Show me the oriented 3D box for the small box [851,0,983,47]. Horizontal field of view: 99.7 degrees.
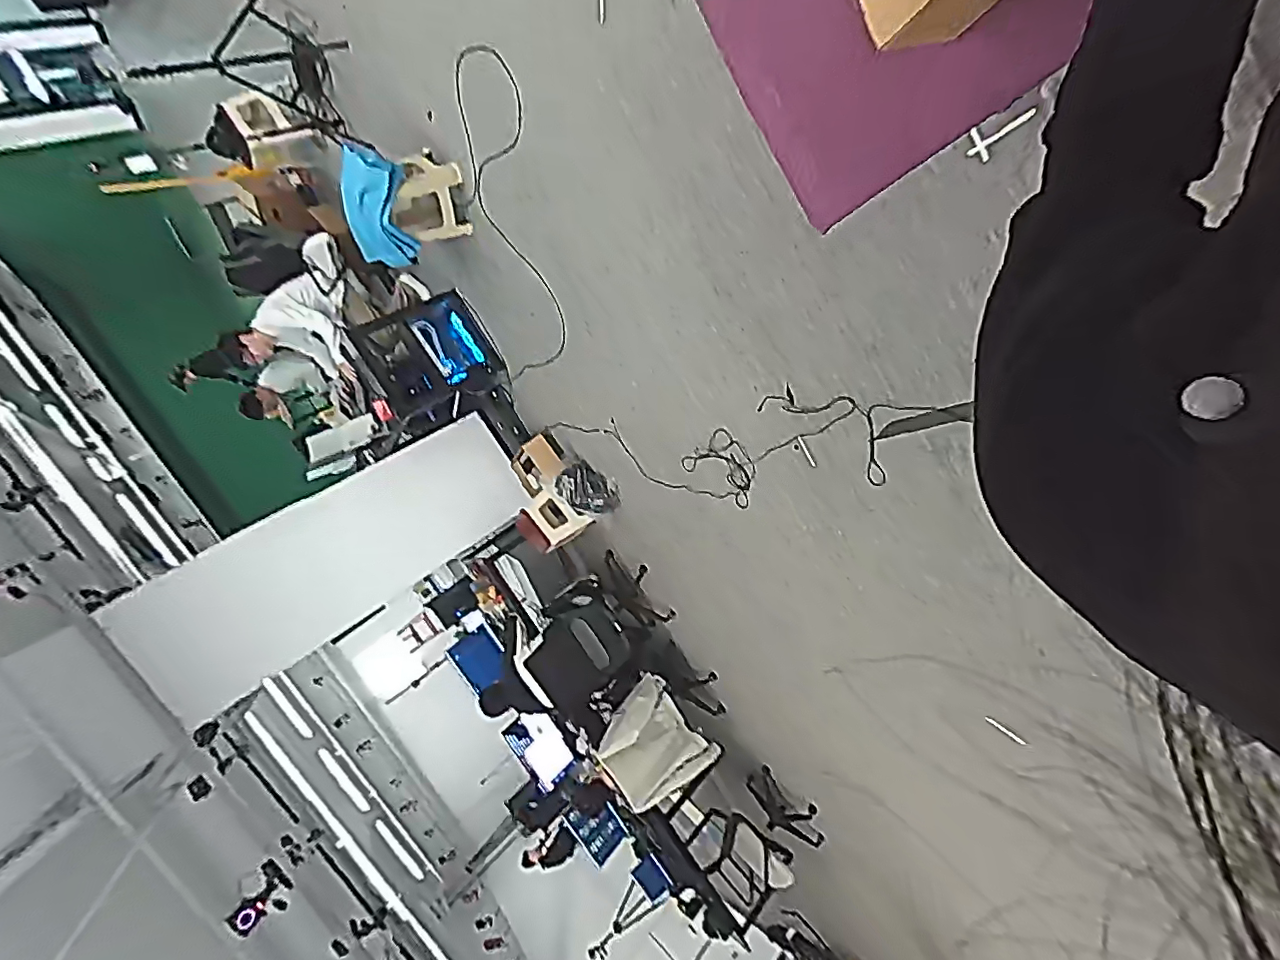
[{"bbox_3d":[0.276,-0.524,0.457,0.168,0.176,0.179,59,151,-8],"label":"small box"}]
